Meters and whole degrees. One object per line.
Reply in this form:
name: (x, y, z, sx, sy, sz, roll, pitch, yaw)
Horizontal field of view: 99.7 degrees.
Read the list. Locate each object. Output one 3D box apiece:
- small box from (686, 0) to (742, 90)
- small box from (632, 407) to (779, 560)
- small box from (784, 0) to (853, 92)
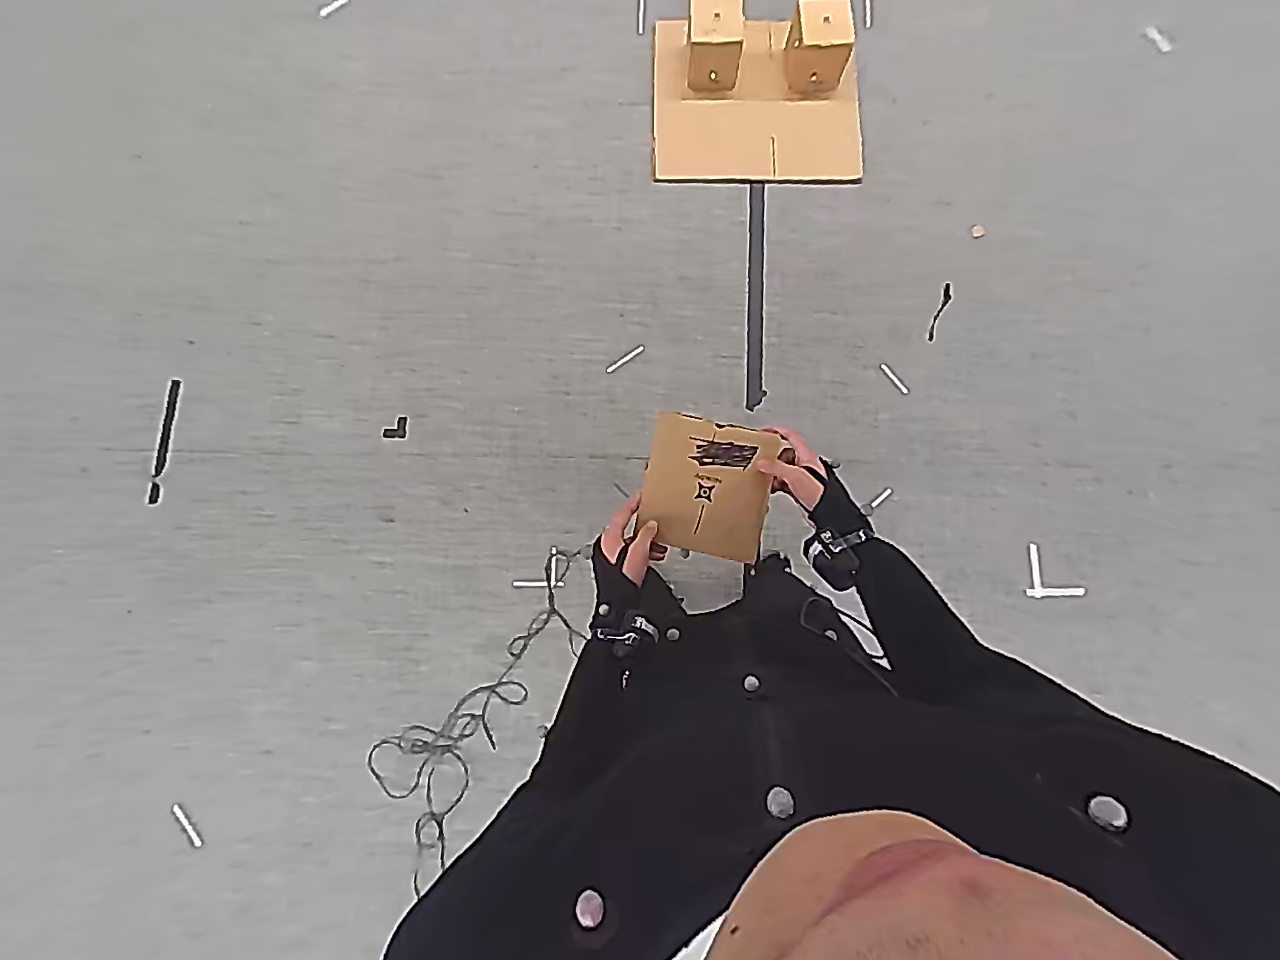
small box: (0.239, -1.434, 1.779, 0.168, 0.176, 0.179, 0, 82, 1)
small box: (0.090, 0.010, 0.787, 0.168, 0.176, 0.179, 12, 86, 5)
small box: (0.583, -1.428, 1.783, 0.168, 0.176, 0.179, -3, 82, 0)
